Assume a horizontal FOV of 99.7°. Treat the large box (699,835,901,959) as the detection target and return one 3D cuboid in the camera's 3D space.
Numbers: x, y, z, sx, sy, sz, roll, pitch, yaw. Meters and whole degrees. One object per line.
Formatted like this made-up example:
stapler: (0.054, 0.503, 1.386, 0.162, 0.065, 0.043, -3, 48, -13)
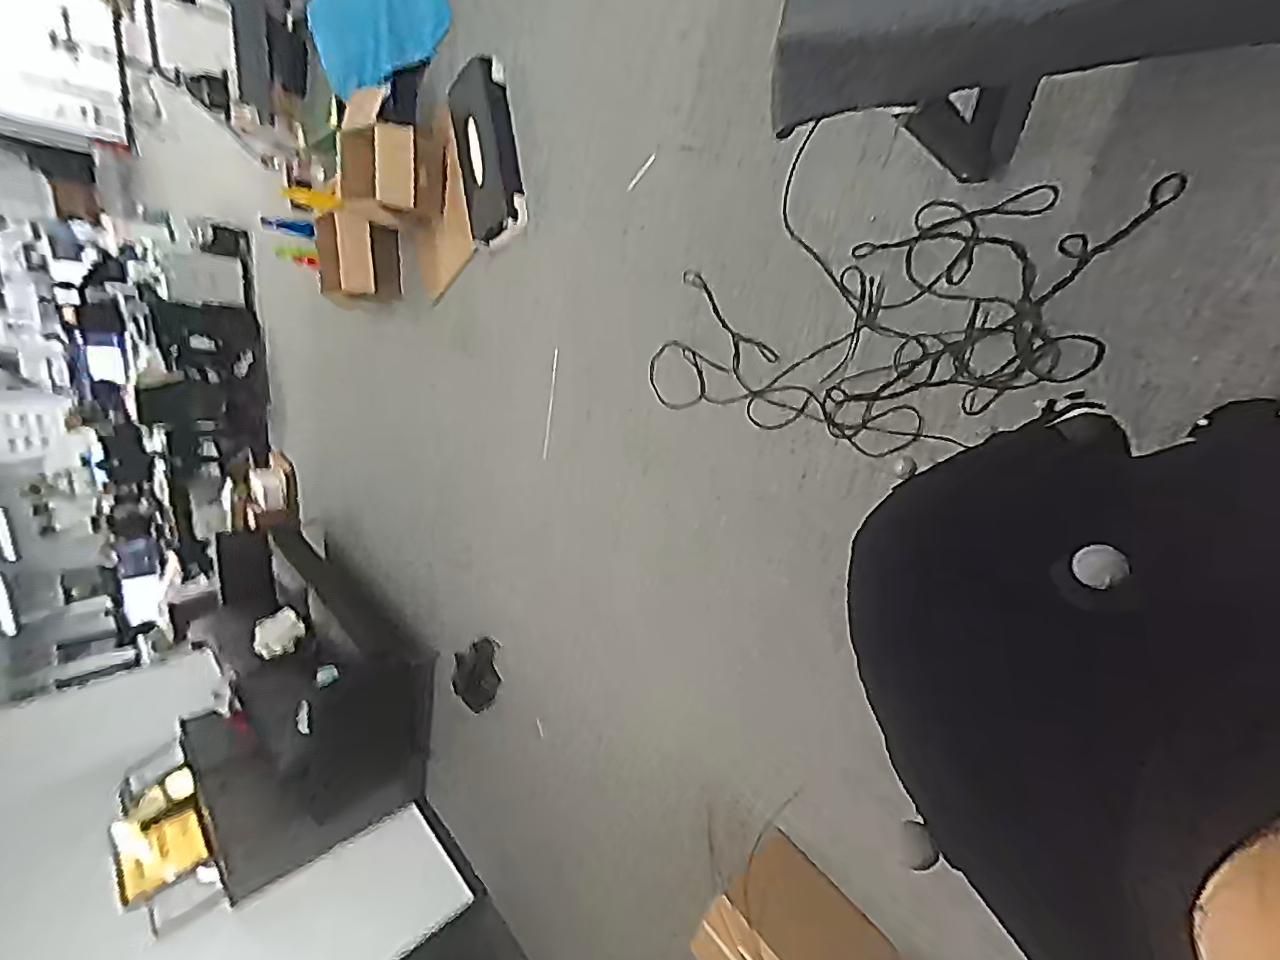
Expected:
large box: (0.450, 1.355, 1.550, 0.408, 0.320, 0.320, 34, 119, 36)
